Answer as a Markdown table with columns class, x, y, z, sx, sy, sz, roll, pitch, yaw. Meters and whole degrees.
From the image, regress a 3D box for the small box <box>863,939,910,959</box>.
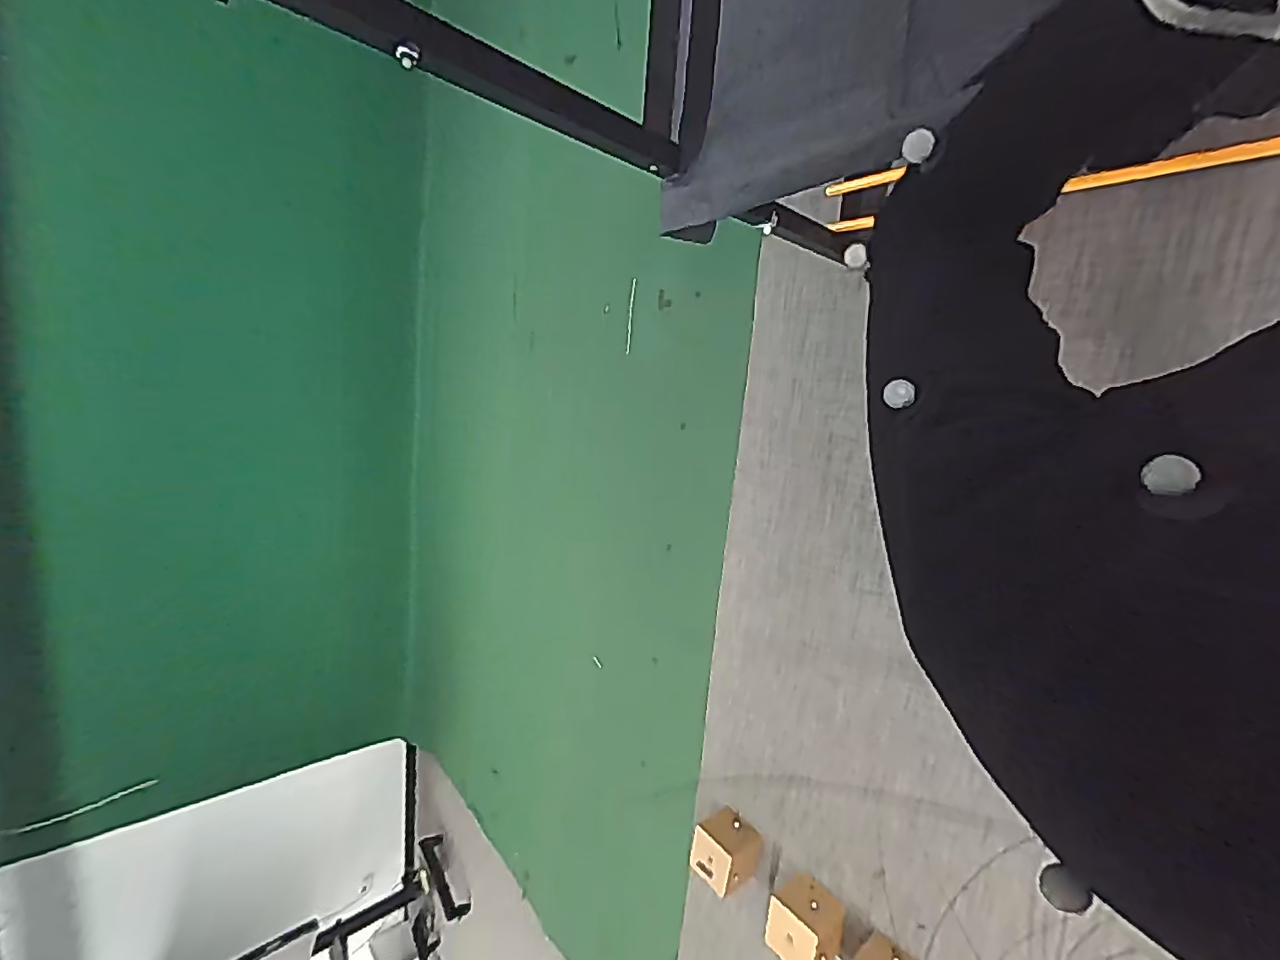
| class | x | y | z | sx | sy | sz | roll | pitch | yaw |
| --- | --- | --- | --- | --- | --- | --- | --- | --- | --- |
| small box | 0.684 | 1.426 | 1.470 | 0.168 | 0.176 | 0.179 | 16 | 103 | 47 |

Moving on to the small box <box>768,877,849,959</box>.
| class | x | y | z | sx | sy | sz | roll | pitch | yaw |
| --- | --- | --- | --- | --- | --- | --- | --- | --- | --- |
| small box | 0.521 | 1.384 | 1.663 | 0.168 | 0.176 | 0.179 | 15 | 103 | 48 |

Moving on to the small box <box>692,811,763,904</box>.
| class | x | y | z | sx | sy | sz | roll | pitch | yaw |
| --- | --- | --- | --- | --- | --- | --- | --- | --- | --- |
| small box | 0.310 | 1.319 | 1.903 | 0.168 | 0.176 | 0.179 | 20 | 106 | 47 |
